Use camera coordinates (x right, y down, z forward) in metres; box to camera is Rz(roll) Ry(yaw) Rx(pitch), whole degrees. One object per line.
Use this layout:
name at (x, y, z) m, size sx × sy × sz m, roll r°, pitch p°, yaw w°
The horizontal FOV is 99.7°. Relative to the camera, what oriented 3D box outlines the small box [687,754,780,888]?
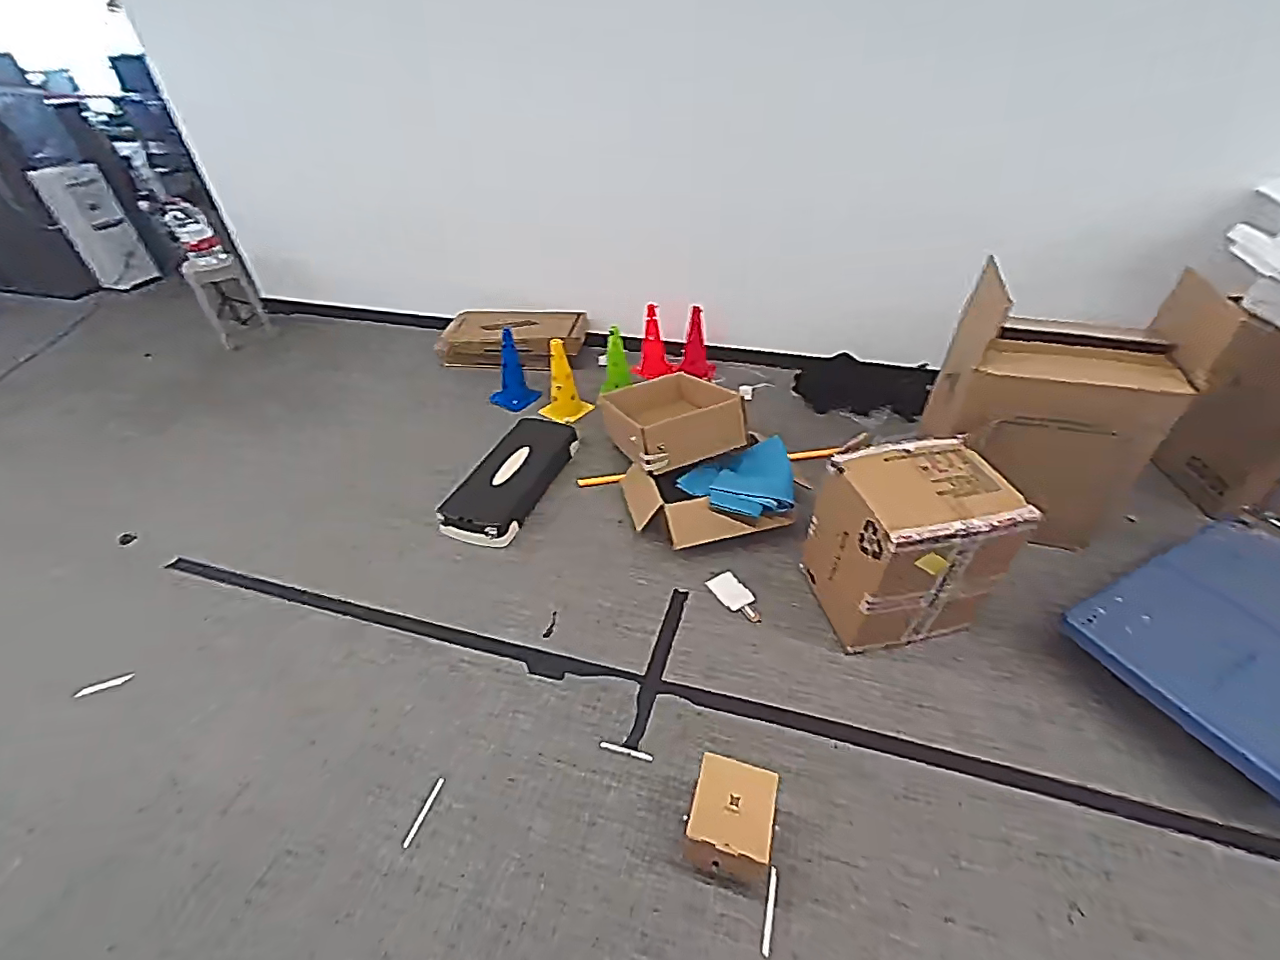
small box at (0.199, 0.736, 1.169) m, size 0.168 × 0.176 × 0.179 m, roll 11°, pitch 42°, yaw 14°
